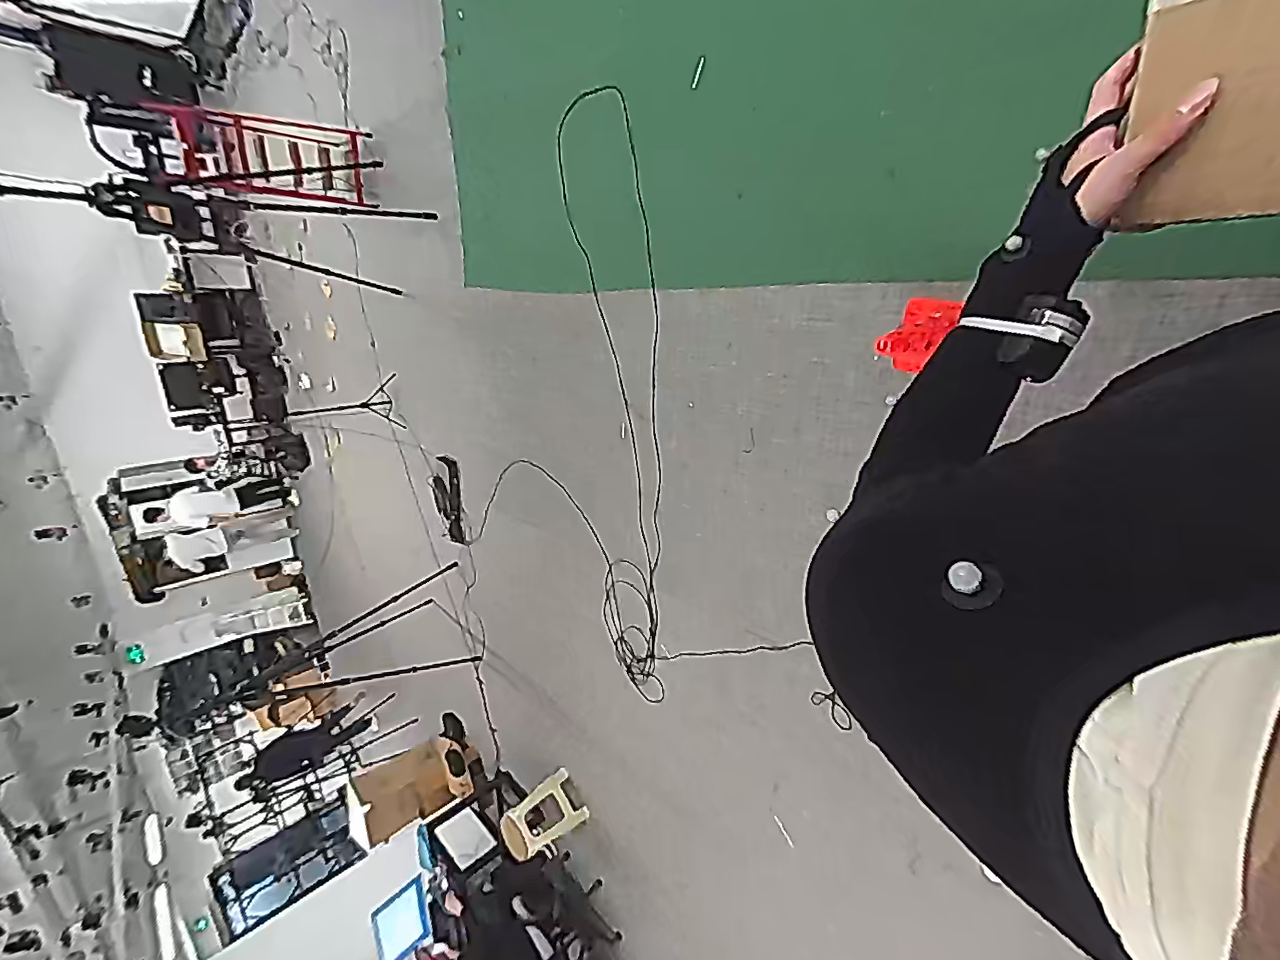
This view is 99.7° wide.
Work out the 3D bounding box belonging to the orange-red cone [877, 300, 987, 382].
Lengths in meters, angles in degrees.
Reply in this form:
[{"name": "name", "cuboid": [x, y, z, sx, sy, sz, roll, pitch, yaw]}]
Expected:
[{"name": "orange-red cone", "cuboid": [0.691, -0.346, 1.364, 0.199, 0.360, 0.198, 27, 121, 41]}]
